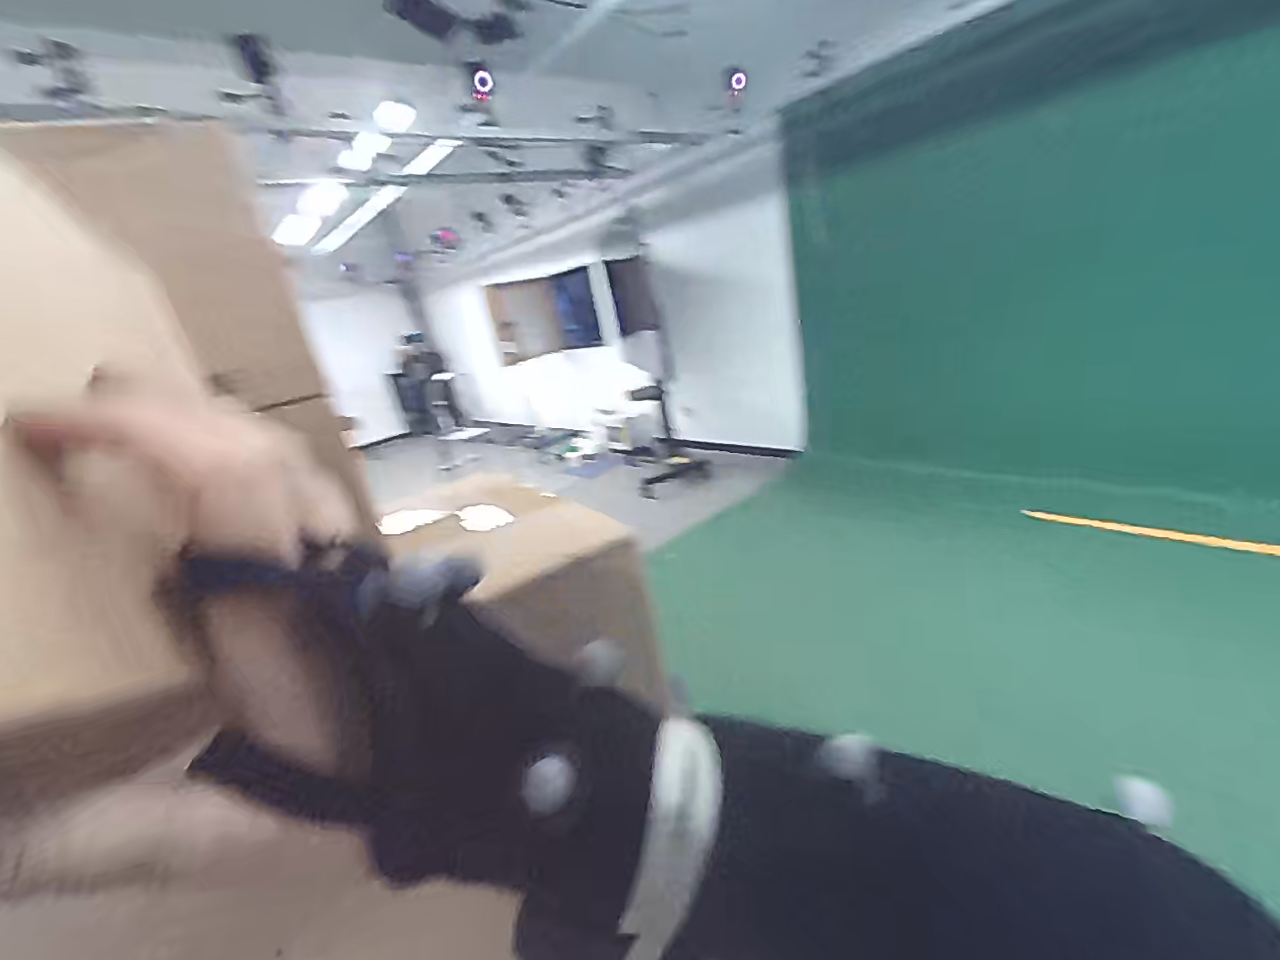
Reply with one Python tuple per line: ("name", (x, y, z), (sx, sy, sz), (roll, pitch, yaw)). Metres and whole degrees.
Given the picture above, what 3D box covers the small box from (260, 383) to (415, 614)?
("small box", (-0.306, 0.024, 0.447), (0.168, 0.176, 0.179), (-21, 23, -29))
